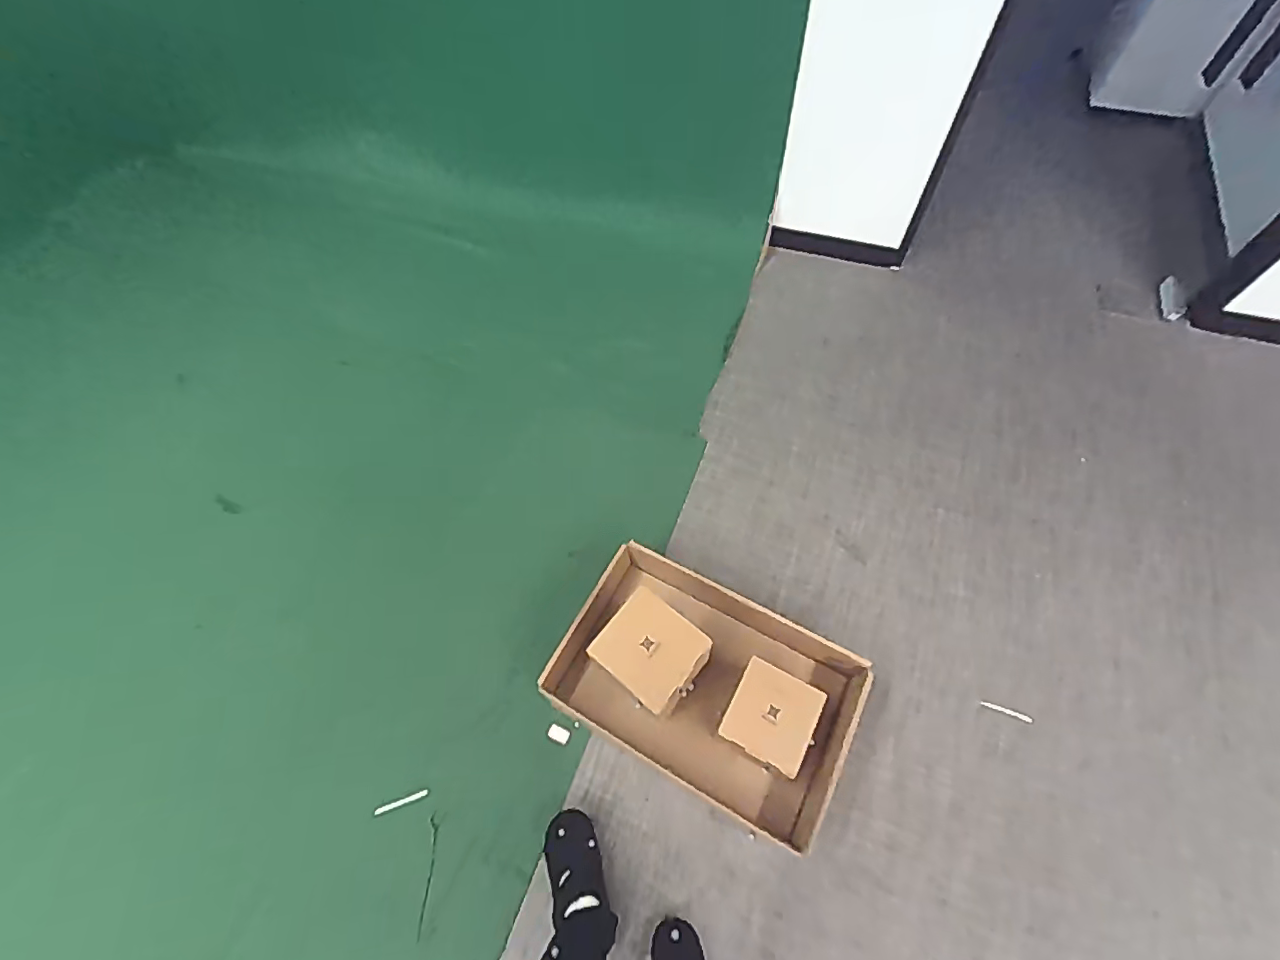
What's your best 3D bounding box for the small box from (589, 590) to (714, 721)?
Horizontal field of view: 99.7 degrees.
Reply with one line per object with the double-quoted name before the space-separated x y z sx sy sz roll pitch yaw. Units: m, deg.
"small box" 0.023 0.352 1.065 0.179 0.176 0.168 35 69 19
